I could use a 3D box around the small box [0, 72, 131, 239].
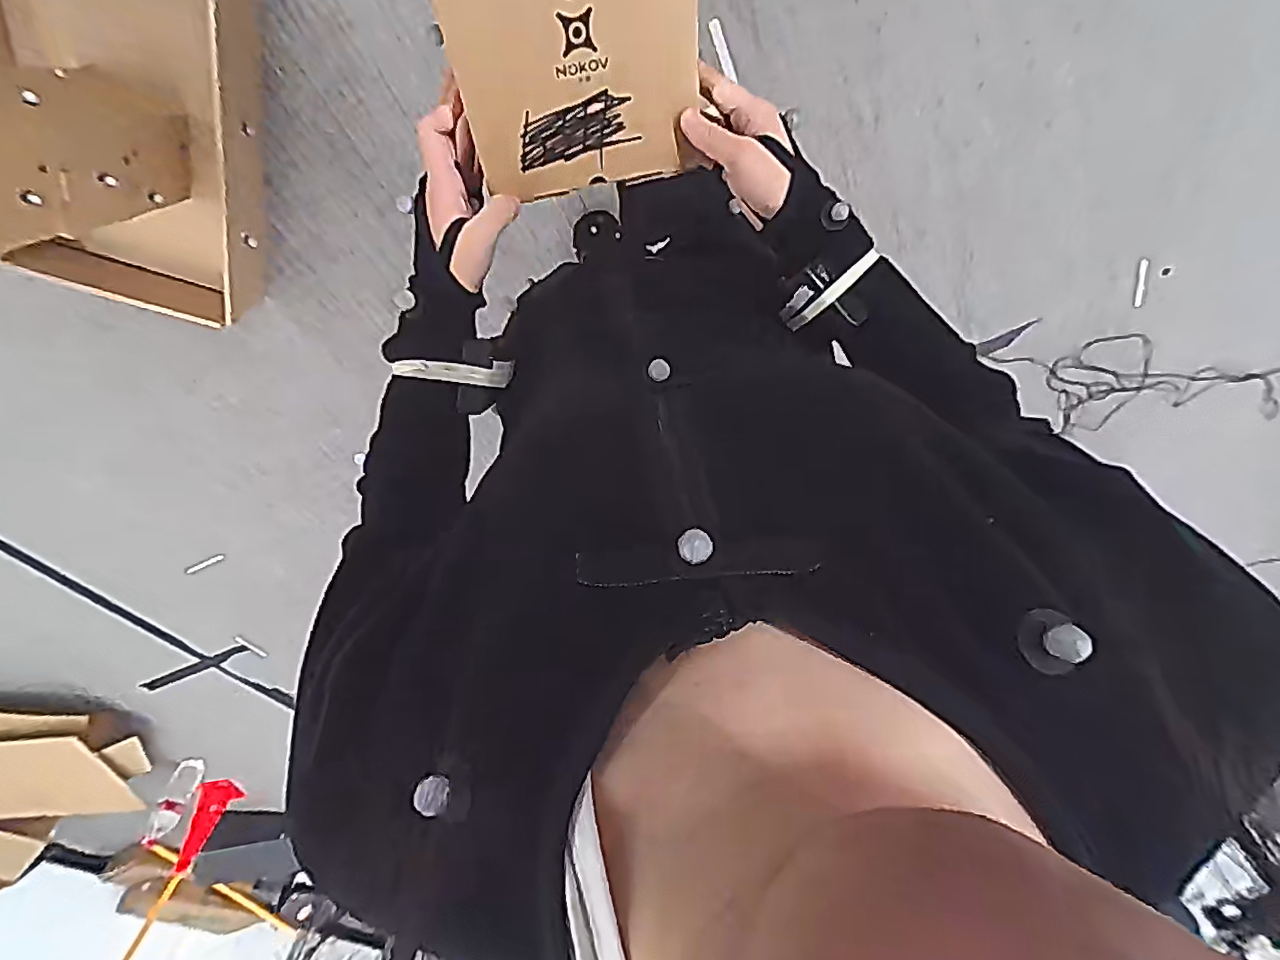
[{"bbox_3d":[-0.952,-0.515,0.853,0.179,0.176,0.168,18,122,-19],"label":"small box"}]

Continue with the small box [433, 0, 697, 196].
[{"bbox_3d":[-0.058,-0.346,0.401,0.168,0.176,0.179,-14,139,-4],"label":"small box"}]

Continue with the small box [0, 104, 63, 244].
[{"bbox_3d":[-0.942,-0.424,0.717,0.179,0.176,0.168,18,123,-18],"label":"small box"}]
